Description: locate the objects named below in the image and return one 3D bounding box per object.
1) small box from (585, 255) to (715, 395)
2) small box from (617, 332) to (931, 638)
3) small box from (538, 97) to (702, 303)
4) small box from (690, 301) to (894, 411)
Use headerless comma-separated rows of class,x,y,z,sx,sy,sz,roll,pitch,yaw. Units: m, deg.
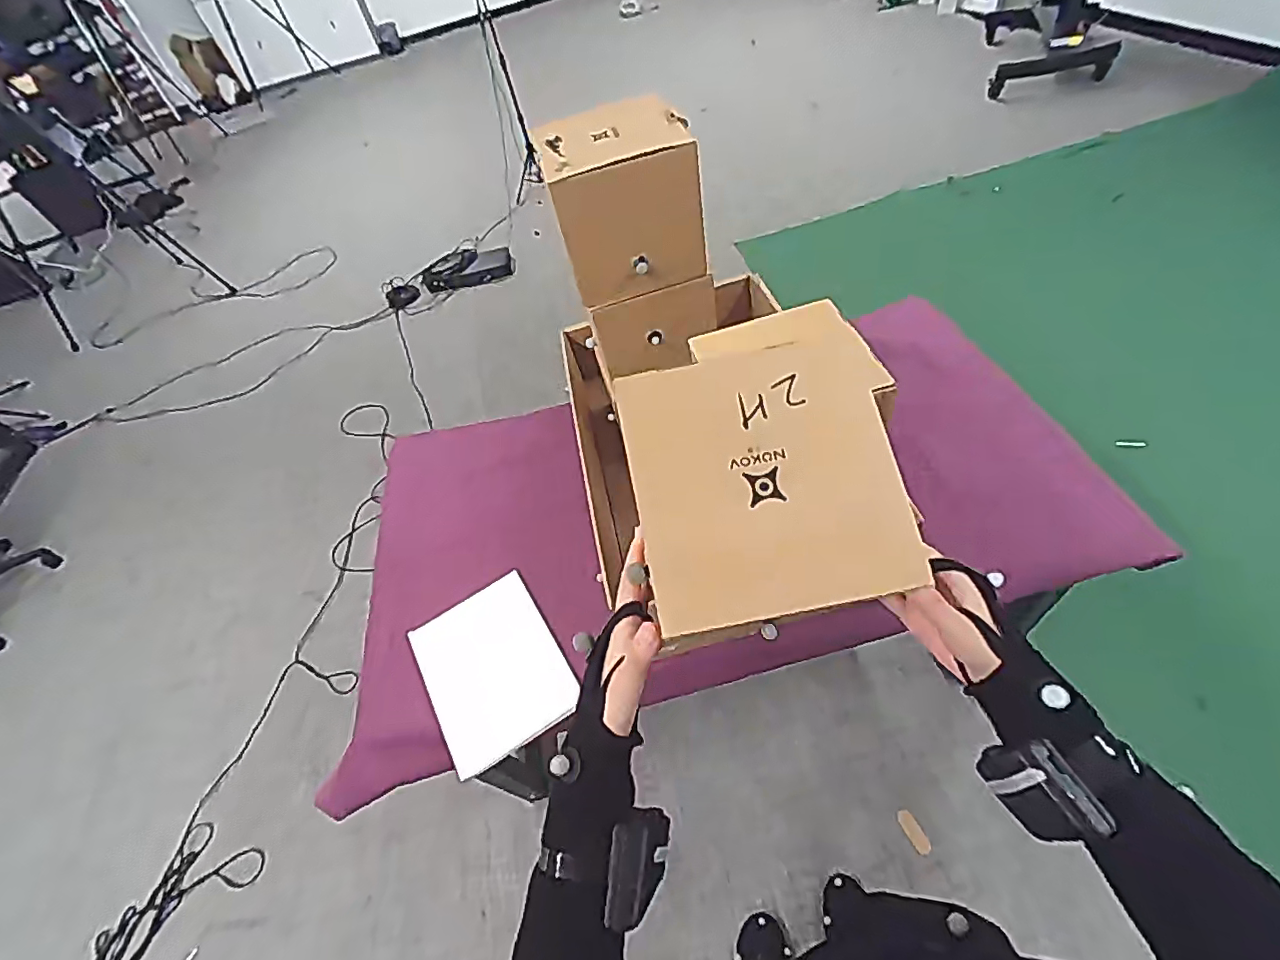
small box,0.010,-0.261,0.834,0.179,0.176,0.168,-18,51,-1
small box,0.083,0.017,0.416,0.168,0.176,0.179,-11,74,0
small box,-0.021,-0.362,0.708,0.179,0.176,0.168,-15,51,-1
small box,0.172,-0.080,0.647,0.179,0.176,0.168,-15,49,1
